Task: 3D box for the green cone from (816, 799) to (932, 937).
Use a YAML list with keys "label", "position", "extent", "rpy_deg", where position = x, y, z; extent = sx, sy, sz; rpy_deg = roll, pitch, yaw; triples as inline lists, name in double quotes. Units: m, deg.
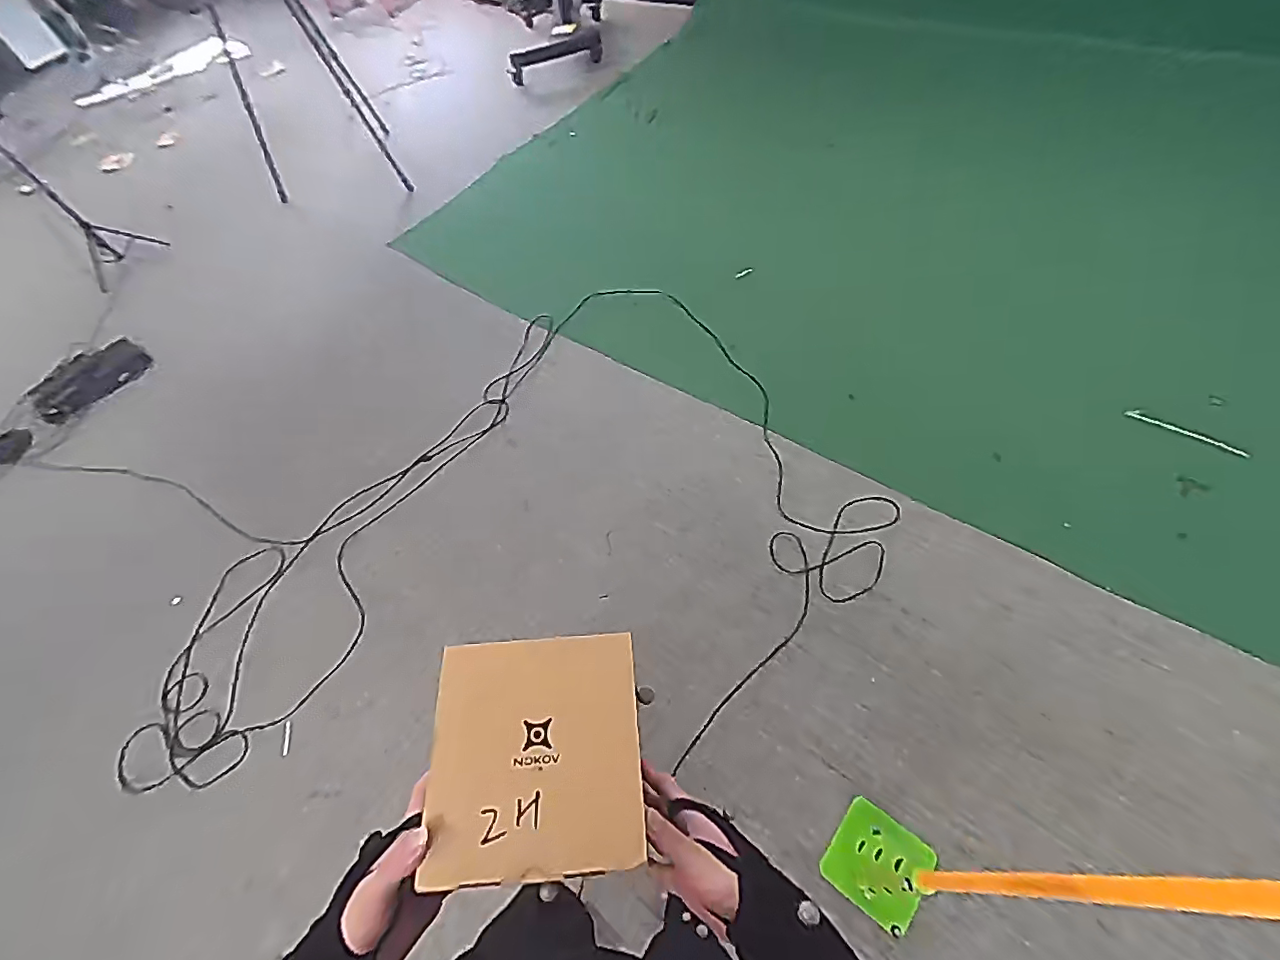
- label: "green cone"
  position: [0.511, 0.790, 1.096]
  extent: [0.202, 0.368, 0.200]
  rpy_deg: [31, 67, 25]
